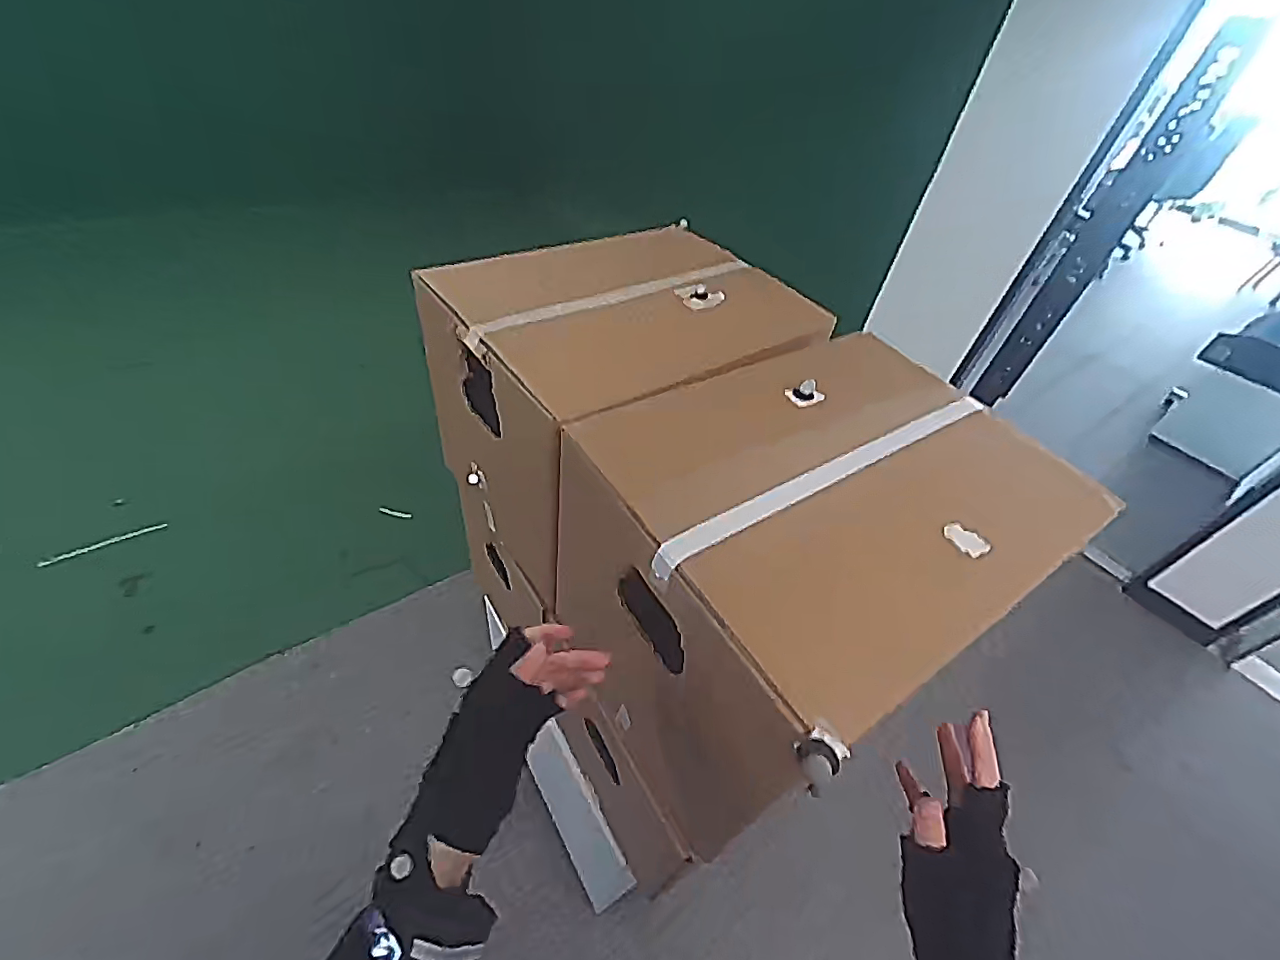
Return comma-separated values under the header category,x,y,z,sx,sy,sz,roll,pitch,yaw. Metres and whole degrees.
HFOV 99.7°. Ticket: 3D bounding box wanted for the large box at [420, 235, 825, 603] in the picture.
category,x,y,z,sx,sy,sz,roll,pitch,yaw
large box,-0.030,-0.107,0.750,0.408,0.320,0.320,-24,54,-31
